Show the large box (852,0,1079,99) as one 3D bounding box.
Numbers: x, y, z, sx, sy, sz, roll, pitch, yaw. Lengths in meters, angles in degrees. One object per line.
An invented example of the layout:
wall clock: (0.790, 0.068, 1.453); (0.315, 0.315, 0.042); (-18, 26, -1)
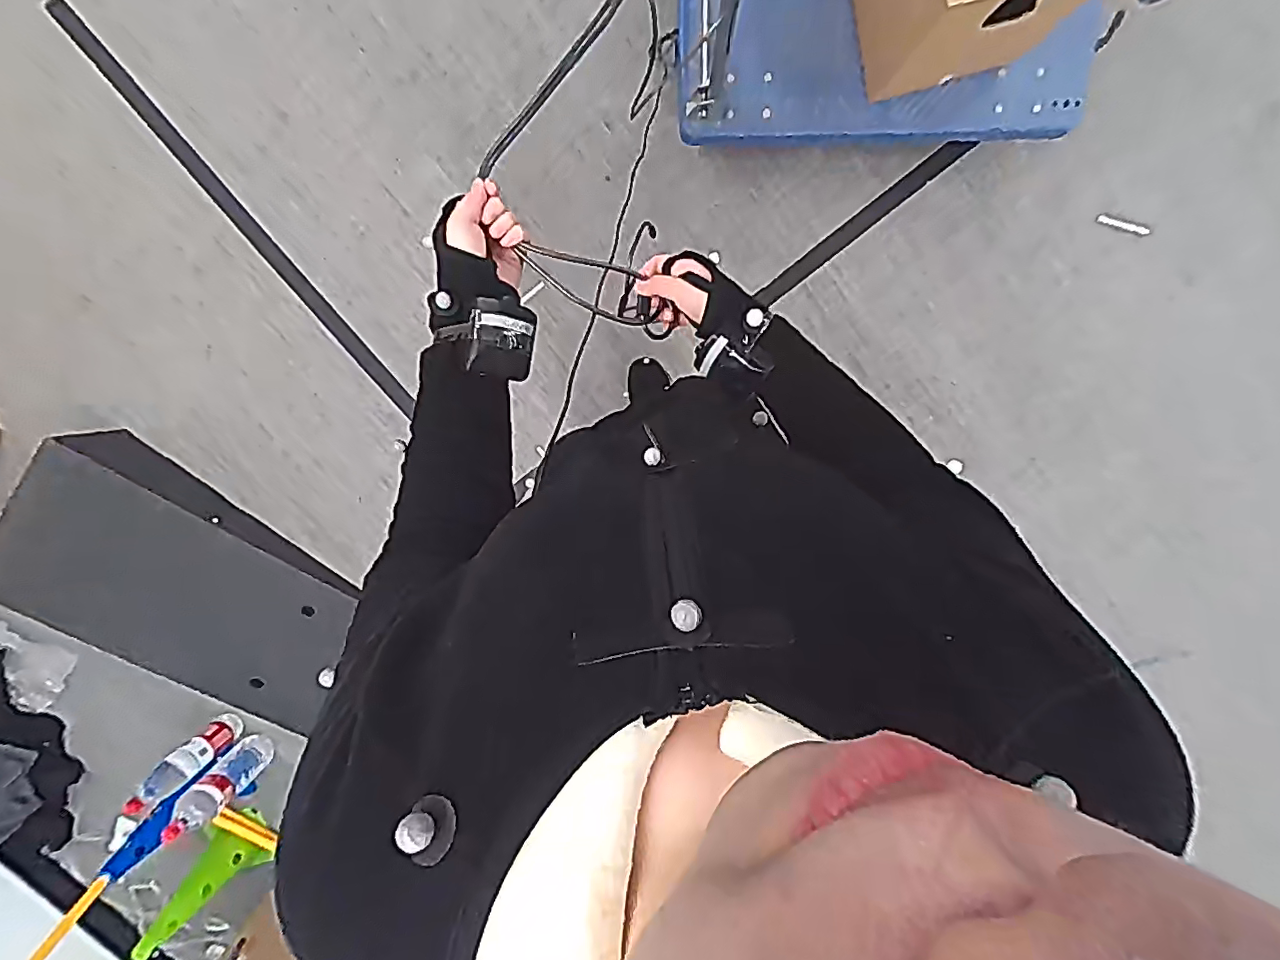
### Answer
large box: (0.584, -1.010, 0.970); (0.320, 0.320, 0.408); (-14, 101, 4)
